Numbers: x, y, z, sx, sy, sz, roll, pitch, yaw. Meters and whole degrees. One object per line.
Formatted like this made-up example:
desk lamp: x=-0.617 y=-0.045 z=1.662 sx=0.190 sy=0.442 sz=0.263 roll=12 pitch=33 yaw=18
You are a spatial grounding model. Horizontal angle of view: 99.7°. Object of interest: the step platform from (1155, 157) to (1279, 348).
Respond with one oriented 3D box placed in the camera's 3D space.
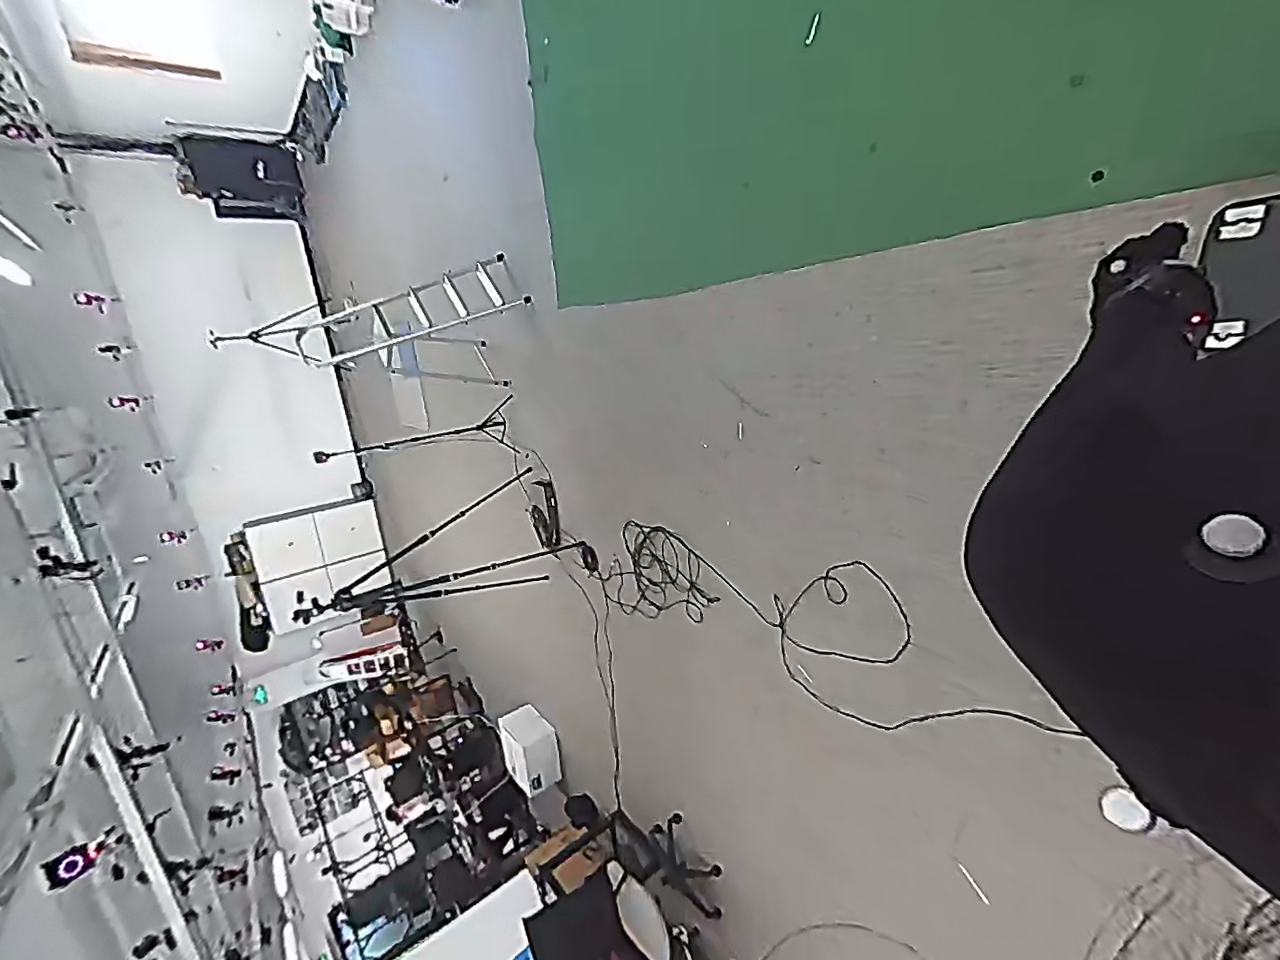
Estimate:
step platform: x=1.176 y=-0.349 z=0.723 sx=0.684 sy=0.204 sz=0.286 roll=12 pitch=114 yaw=52
